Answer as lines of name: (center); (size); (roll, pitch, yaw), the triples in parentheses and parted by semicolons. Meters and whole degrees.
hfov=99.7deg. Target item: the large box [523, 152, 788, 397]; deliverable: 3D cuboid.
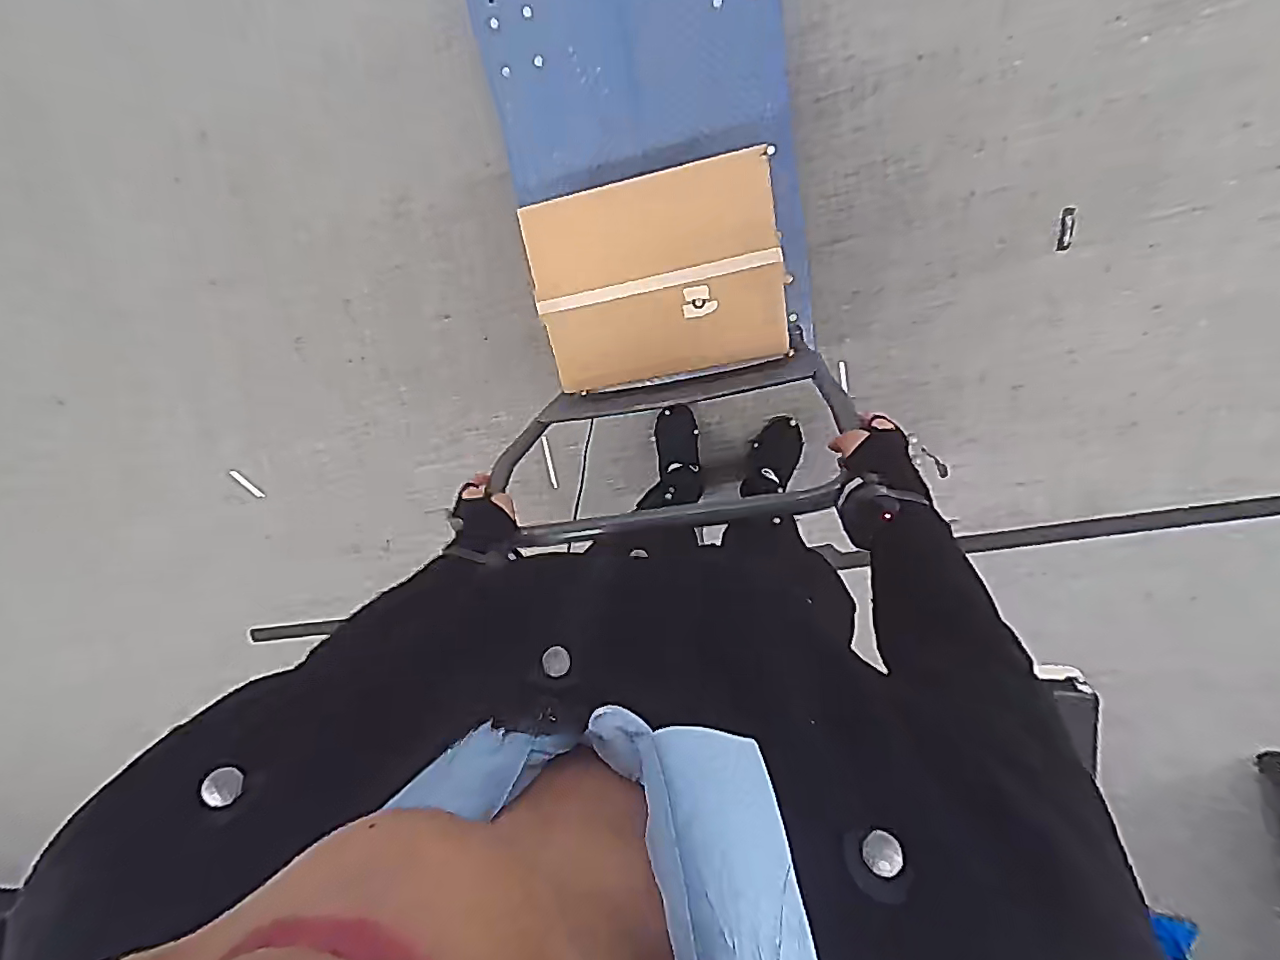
large box: (0.045, -0.377, 1.040); (0.408, 0.320, 0.320); (-9, 111, 11)
